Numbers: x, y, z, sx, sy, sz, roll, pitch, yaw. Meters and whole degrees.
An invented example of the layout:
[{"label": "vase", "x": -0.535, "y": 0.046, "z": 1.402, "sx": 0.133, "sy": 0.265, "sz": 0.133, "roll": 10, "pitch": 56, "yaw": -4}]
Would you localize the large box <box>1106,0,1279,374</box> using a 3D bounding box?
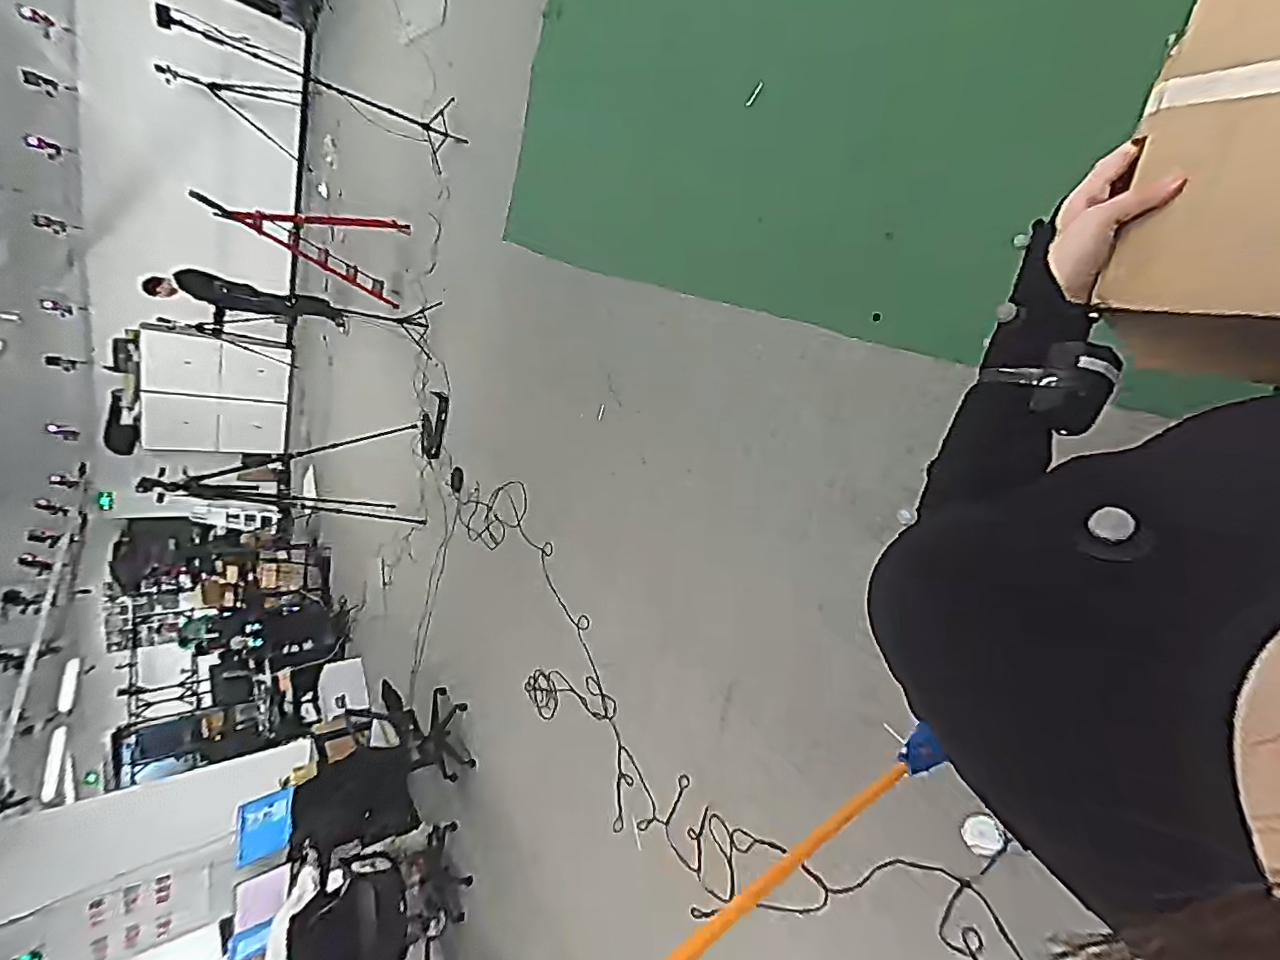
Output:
[{"label": "large box", "x": 0.635, "y": -0.238, "z": 0.369, "sx": 0.408, "sy": 0.320, "sz": 0.320, "roll": 23, "pitch": 106, "yaw": 45}]
